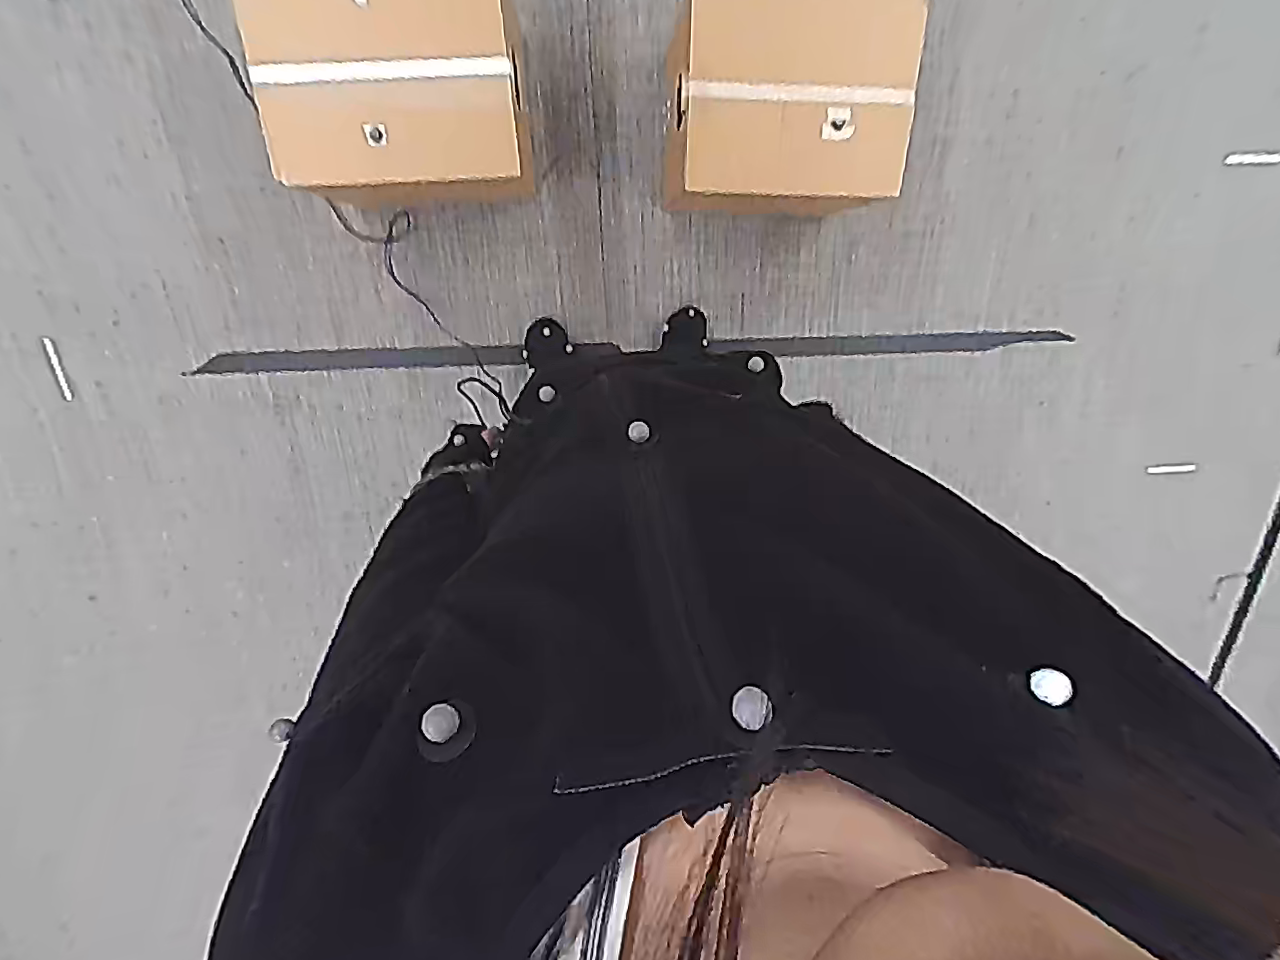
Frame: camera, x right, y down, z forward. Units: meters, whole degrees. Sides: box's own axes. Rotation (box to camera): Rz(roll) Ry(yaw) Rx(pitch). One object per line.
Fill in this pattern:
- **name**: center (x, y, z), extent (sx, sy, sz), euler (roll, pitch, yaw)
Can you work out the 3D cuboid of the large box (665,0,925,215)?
- **large box**: center (0.267, -0.720, 1.078), extent (0.408, 0.320, 0.320), euler (-1, 110, -6)
